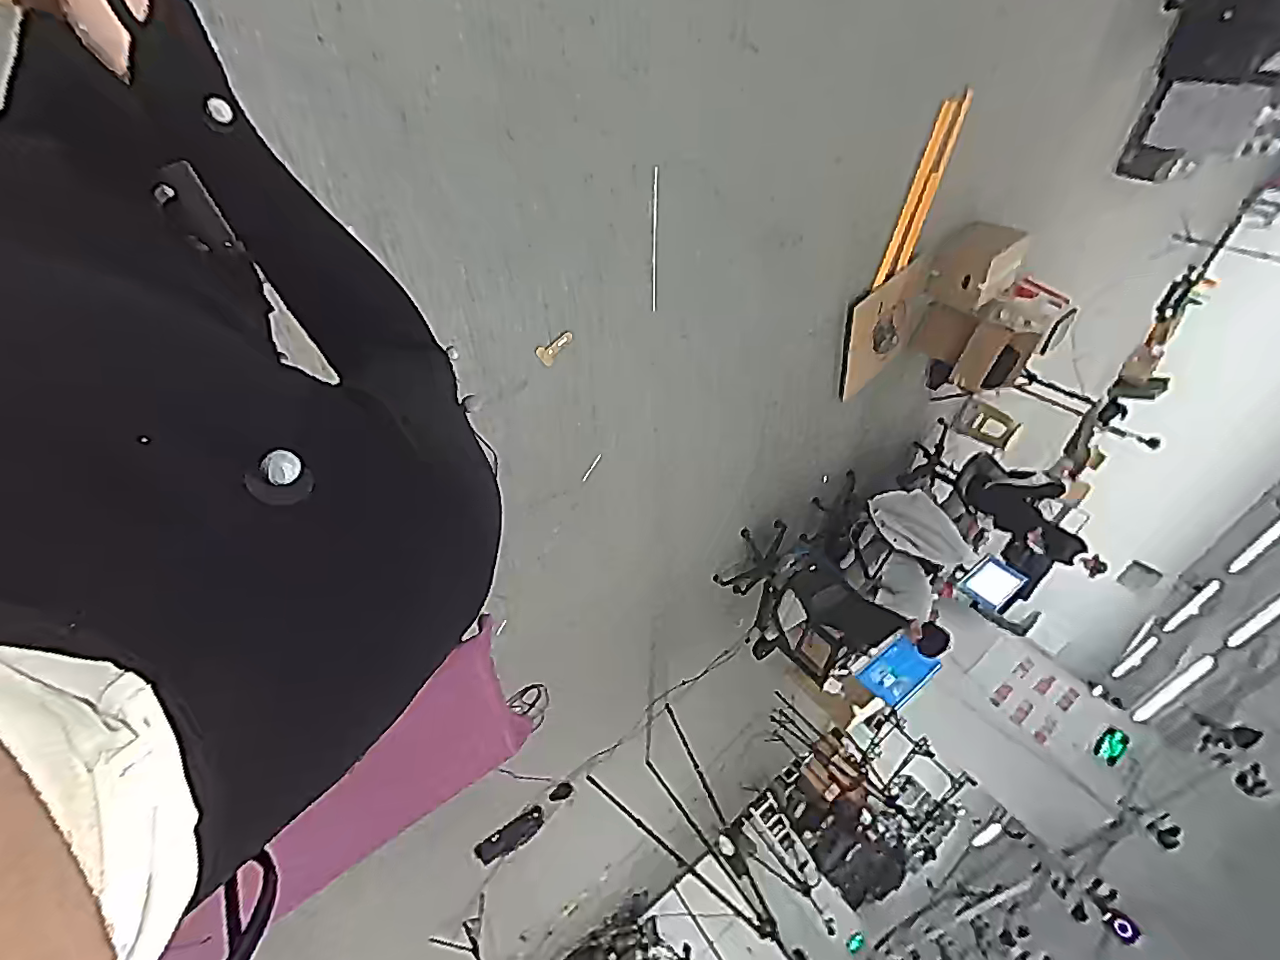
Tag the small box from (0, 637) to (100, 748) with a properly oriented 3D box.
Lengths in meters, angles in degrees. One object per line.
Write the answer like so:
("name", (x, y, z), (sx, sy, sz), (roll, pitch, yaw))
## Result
("small box", (-1.519, 0.524, 1.359), (0.168, 0.176, 0.179), (-28, 140, -25))
